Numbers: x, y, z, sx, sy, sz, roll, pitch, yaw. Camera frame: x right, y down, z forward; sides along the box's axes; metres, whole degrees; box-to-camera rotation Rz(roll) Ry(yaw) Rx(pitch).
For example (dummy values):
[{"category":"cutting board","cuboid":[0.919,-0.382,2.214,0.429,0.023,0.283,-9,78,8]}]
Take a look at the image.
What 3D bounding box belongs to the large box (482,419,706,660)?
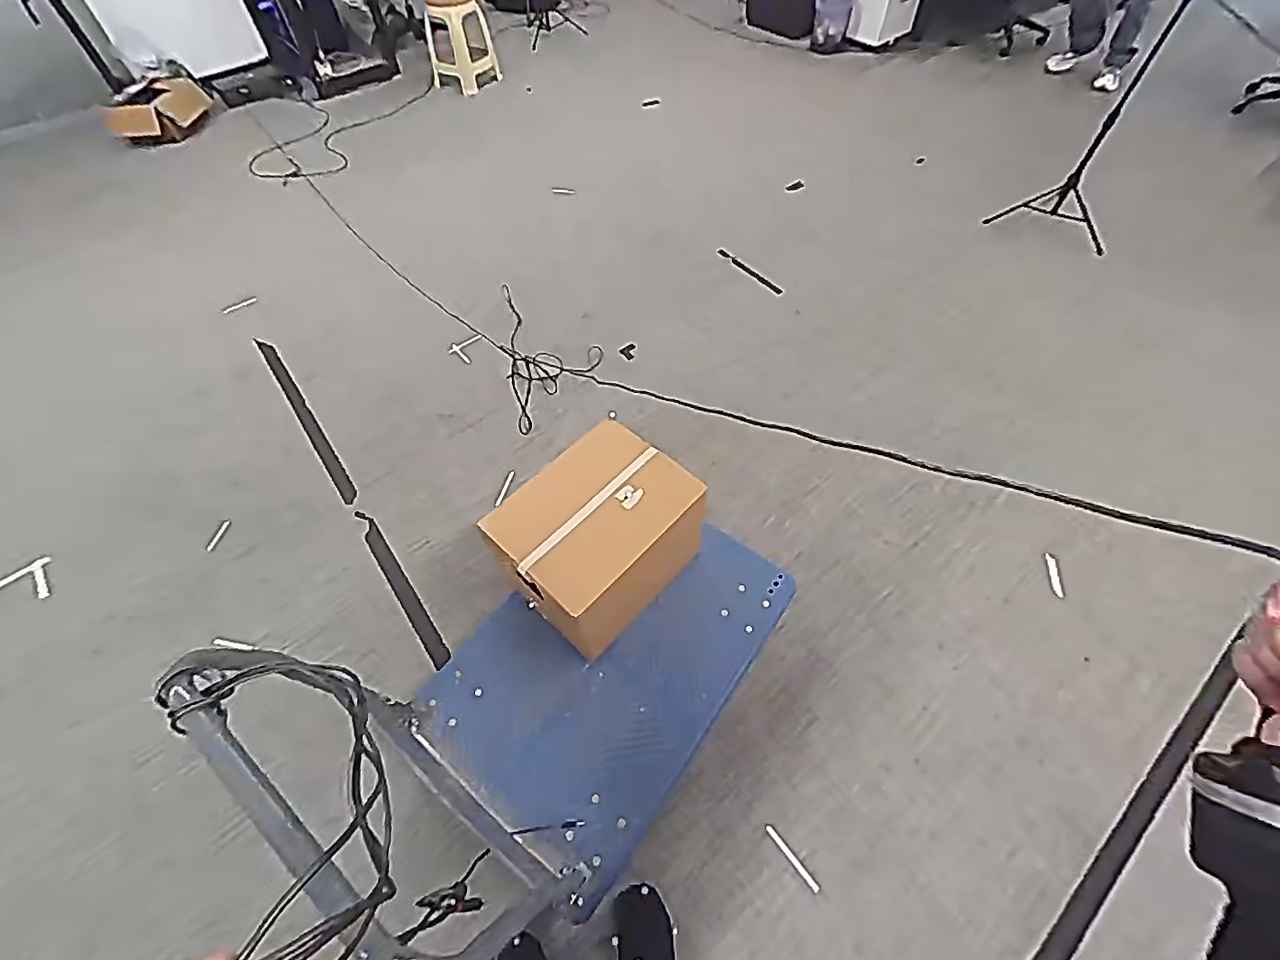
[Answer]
[{"category":"large box","cuboid":[-0.093,0.141,1.284,0.320,0.320,0.408,37,64,23]}]
